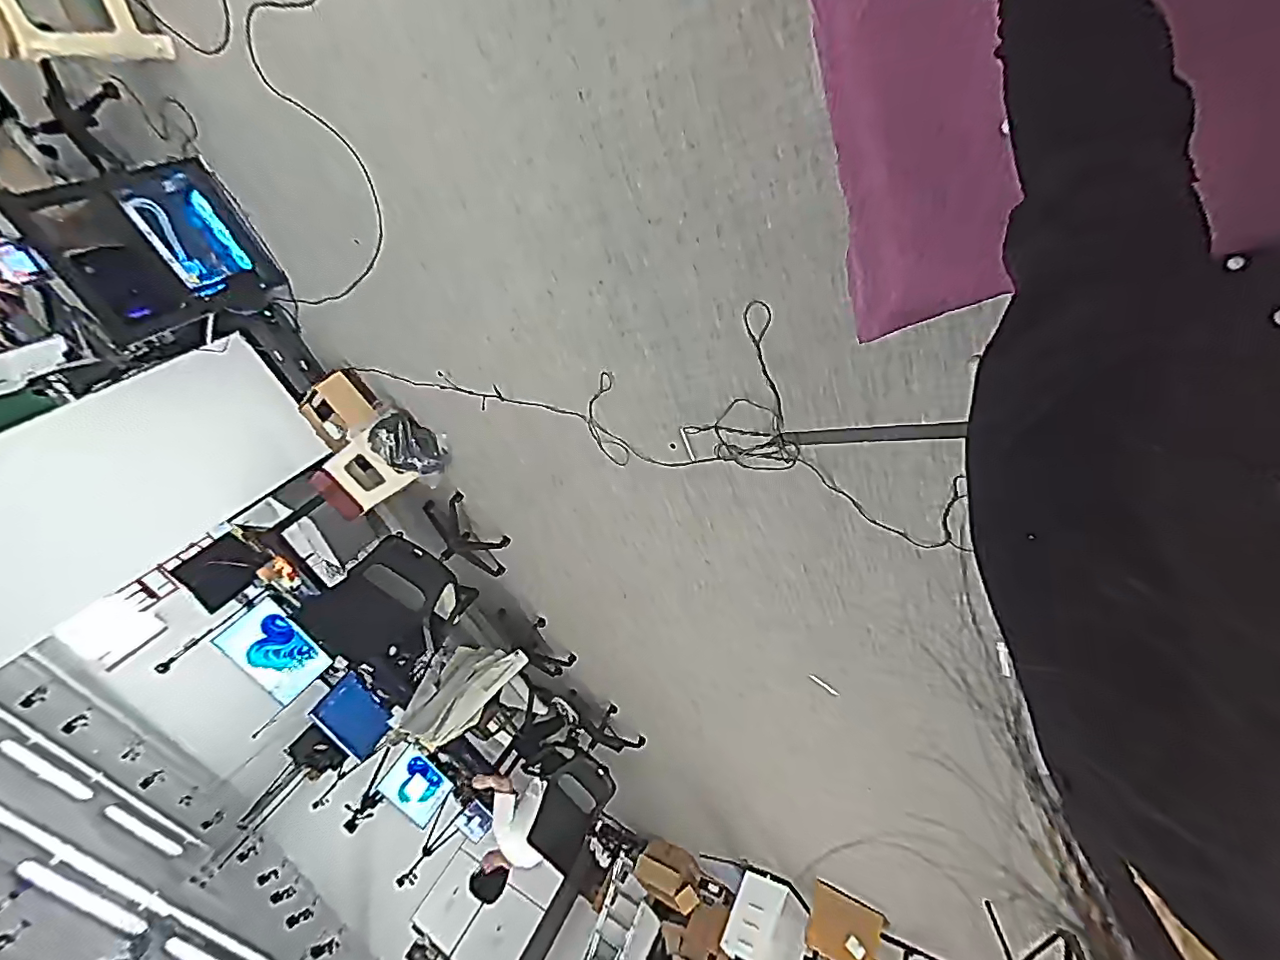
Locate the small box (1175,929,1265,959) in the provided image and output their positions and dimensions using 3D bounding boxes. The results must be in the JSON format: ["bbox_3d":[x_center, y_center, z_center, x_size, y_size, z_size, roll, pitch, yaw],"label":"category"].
[{"bbox_3d":[1.507,1.305,1.386,0.168,0.176,0.179,4,129,36],"label":"small box"}]
